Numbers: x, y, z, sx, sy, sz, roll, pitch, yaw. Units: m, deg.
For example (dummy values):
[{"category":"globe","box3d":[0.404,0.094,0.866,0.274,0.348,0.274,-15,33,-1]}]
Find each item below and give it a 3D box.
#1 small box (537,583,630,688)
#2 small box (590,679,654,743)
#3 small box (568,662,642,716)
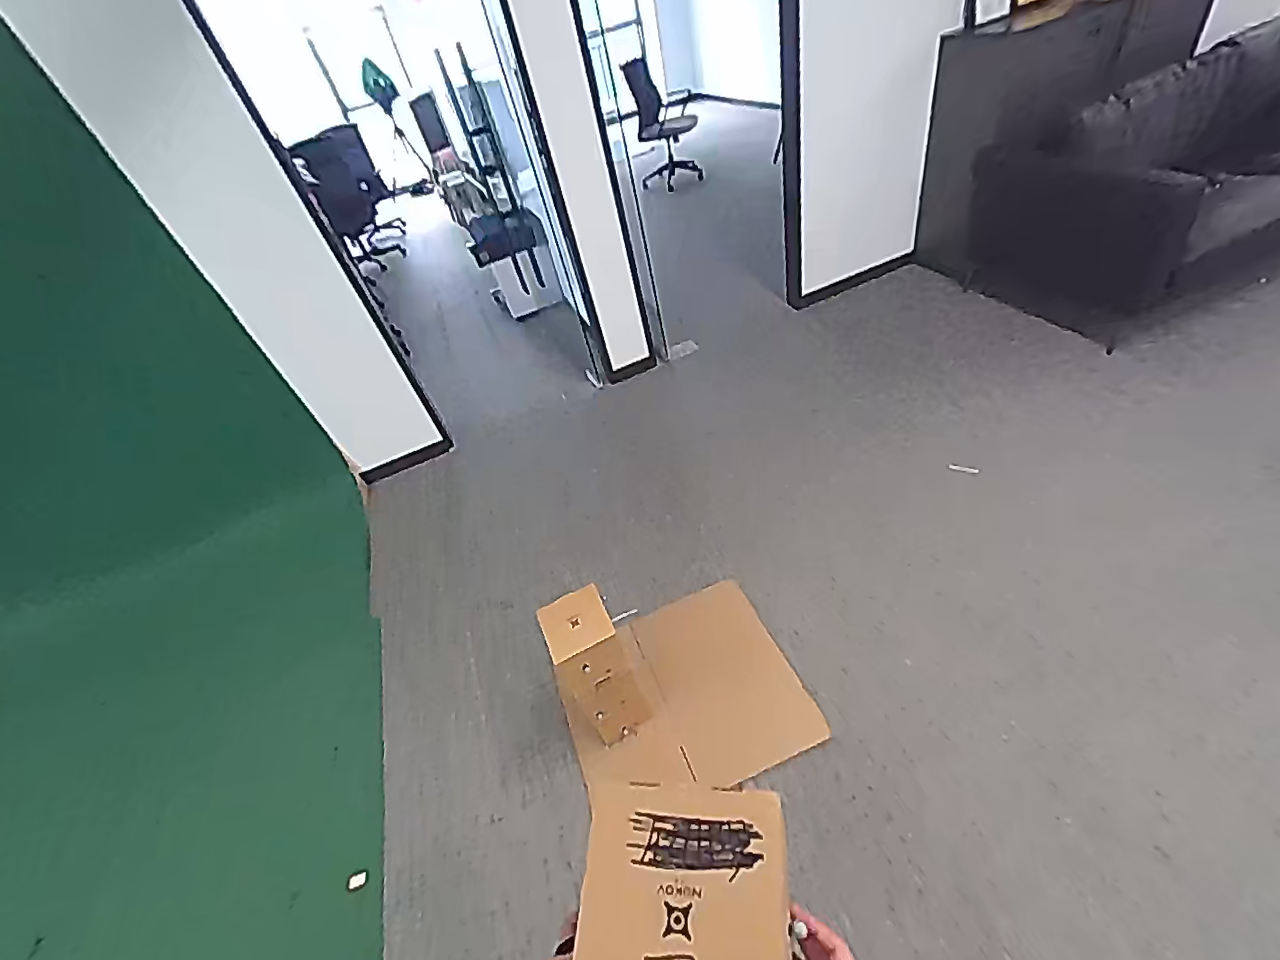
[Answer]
[{"category":"small box","box3d":[-0.142,0.407,1.391,0.168,0.176,0.179,-26,42,-9]},{"category":"small box","box3d":[-0.077,0.641,1.608,0.168,0.176,0.179,-28,44,-12]},{"category":"small box","box3d":[-0.112,0.525,1.498,0.168,0.176,0.179,-26,42,-10]}]
